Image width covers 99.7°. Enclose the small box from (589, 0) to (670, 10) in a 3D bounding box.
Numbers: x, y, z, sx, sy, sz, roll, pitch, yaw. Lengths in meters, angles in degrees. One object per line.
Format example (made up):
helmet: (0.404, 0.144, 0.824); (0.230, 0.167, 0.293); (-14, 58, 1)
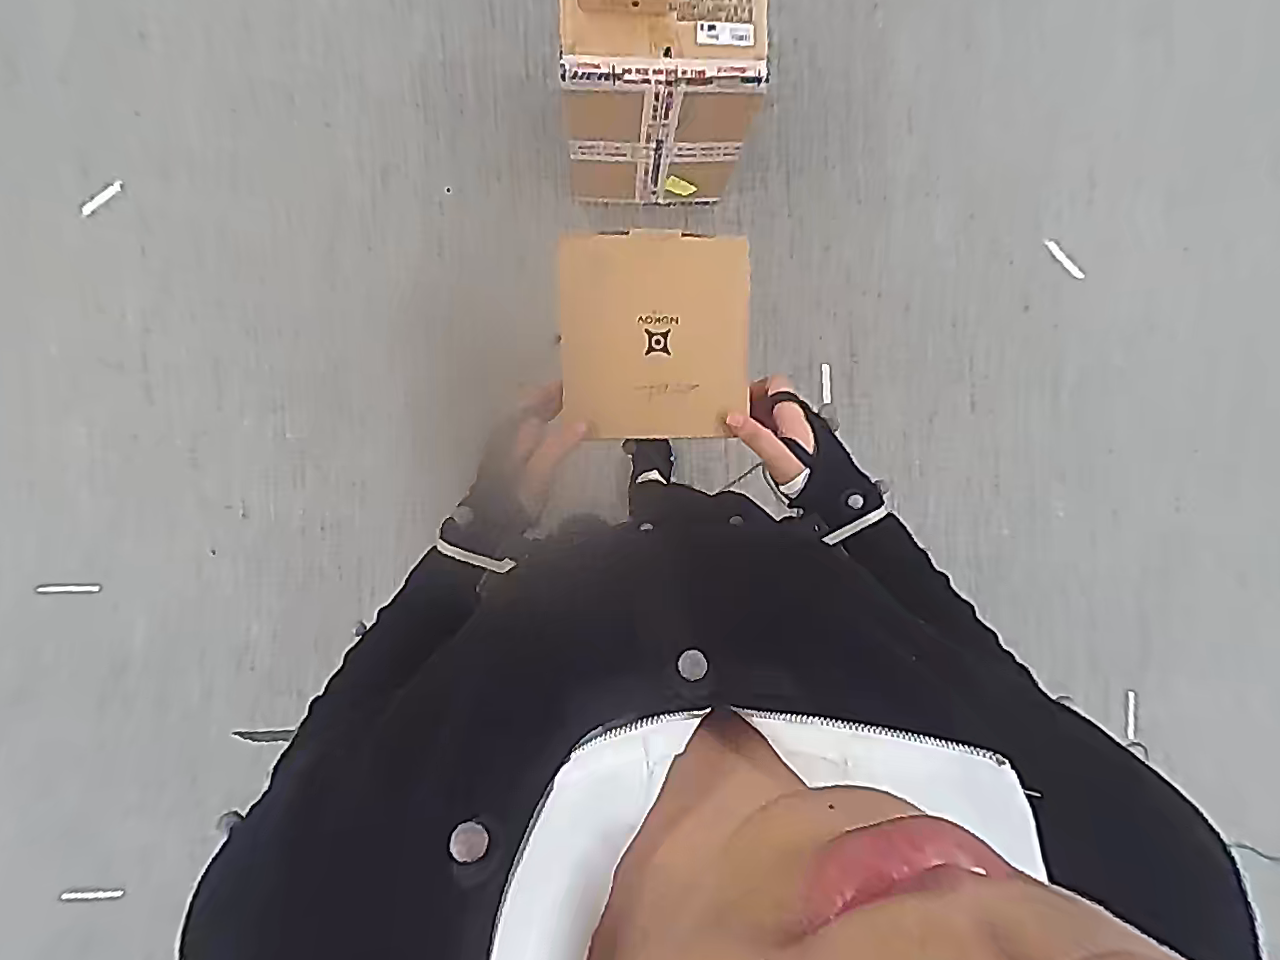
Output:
small box: (-0.023, -0.932, 0.896); (0.168, 0.176, 0.179); (2, 93, -1)
